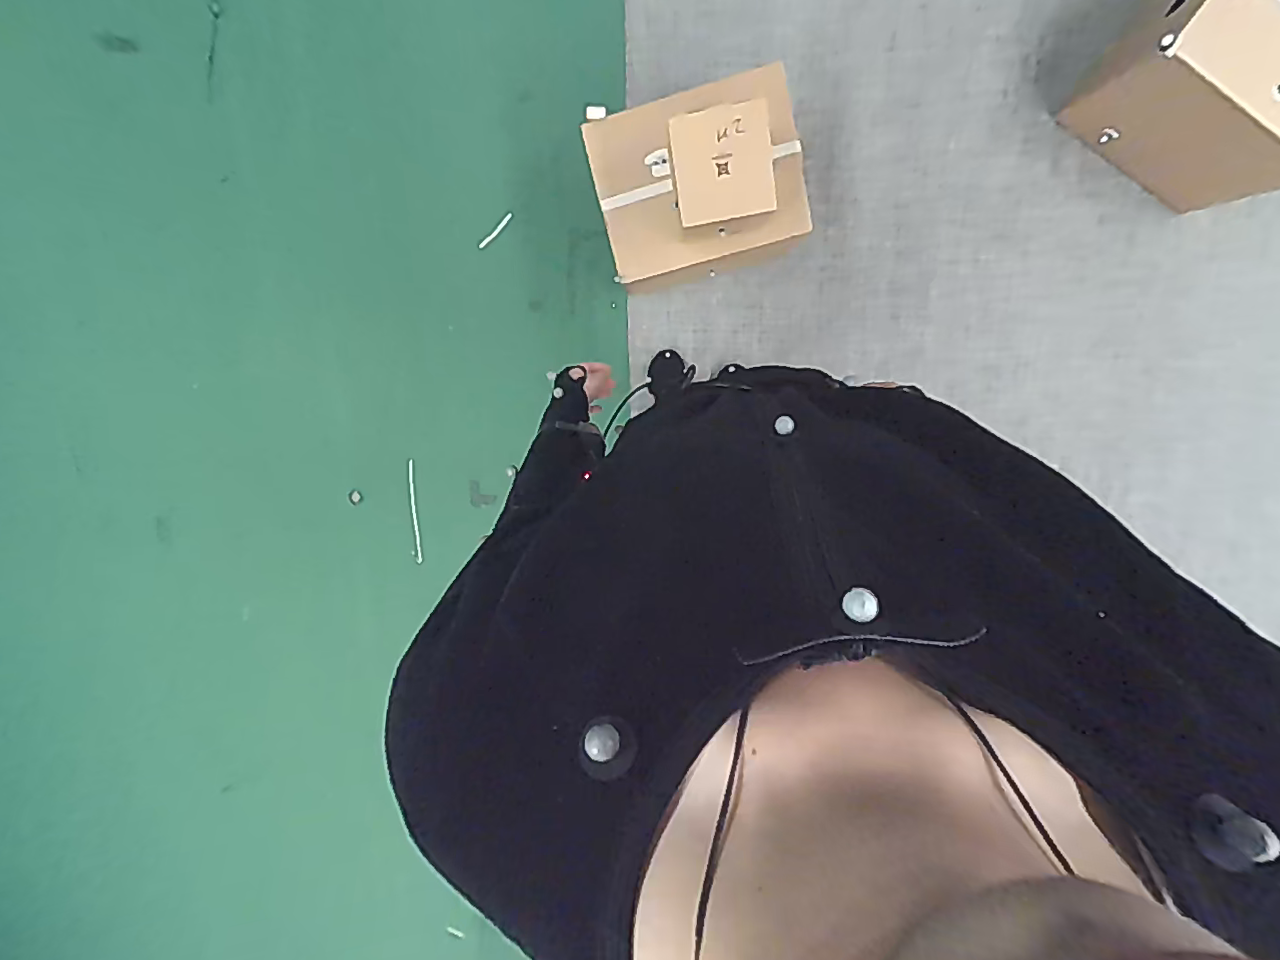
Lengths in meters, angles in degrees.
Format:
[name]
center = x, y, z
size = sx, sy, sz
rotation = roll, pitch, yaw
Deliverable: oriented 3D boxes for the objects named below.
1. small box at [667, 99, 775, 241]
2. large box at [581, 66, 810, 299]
[small box]
center = 0.141, -0.545, 0.979
size = 0.168, 0.176, 0.179
rotation = -8, 103, 4
[large box]
center = 0.123, -0.625, 1.215
size = 0.408, 0.320, 0.320
rotation = -13, 101, 8
